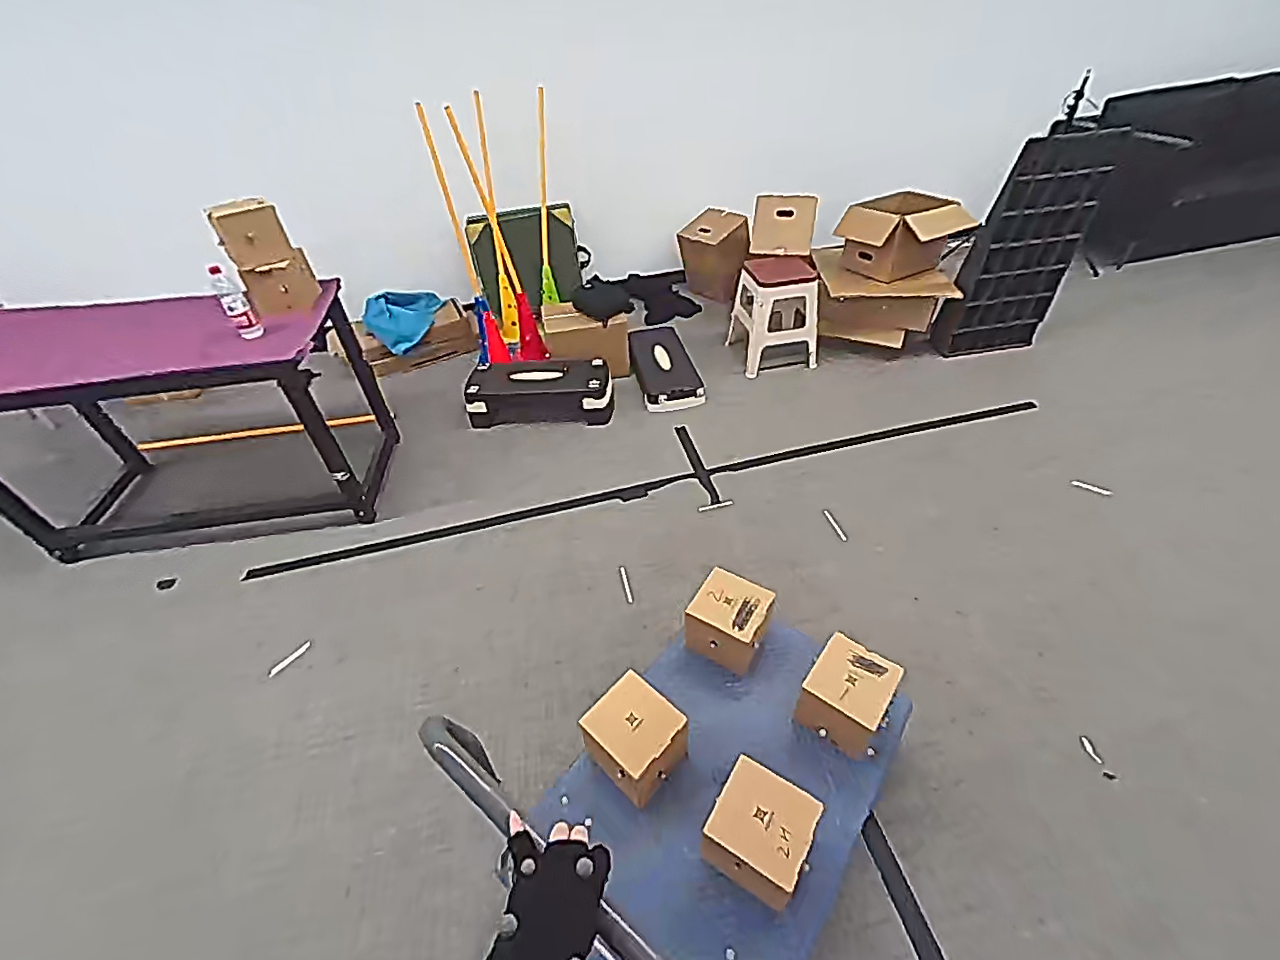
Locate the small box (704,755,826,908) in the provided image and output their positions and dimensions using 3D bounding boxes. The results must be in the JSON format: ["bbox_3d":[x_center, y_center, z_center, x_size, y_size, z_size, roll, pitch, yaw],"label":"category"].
[{"bbox_3d":[0.236,0.688,1.056,0.179,0.176,0.168,23,49,27],"label":"small box"}]

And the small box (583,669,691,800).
[{"bbox_3d":[-0.006,0.570,1.206,0.179,0.176,0.168,32,53,31],"label":"small box"}]

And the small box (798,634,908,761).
[{"bbox_3d":[0.481,0.499,1.243,0.168,0.176,0.179,28,52,30],"label":"small box"}]
